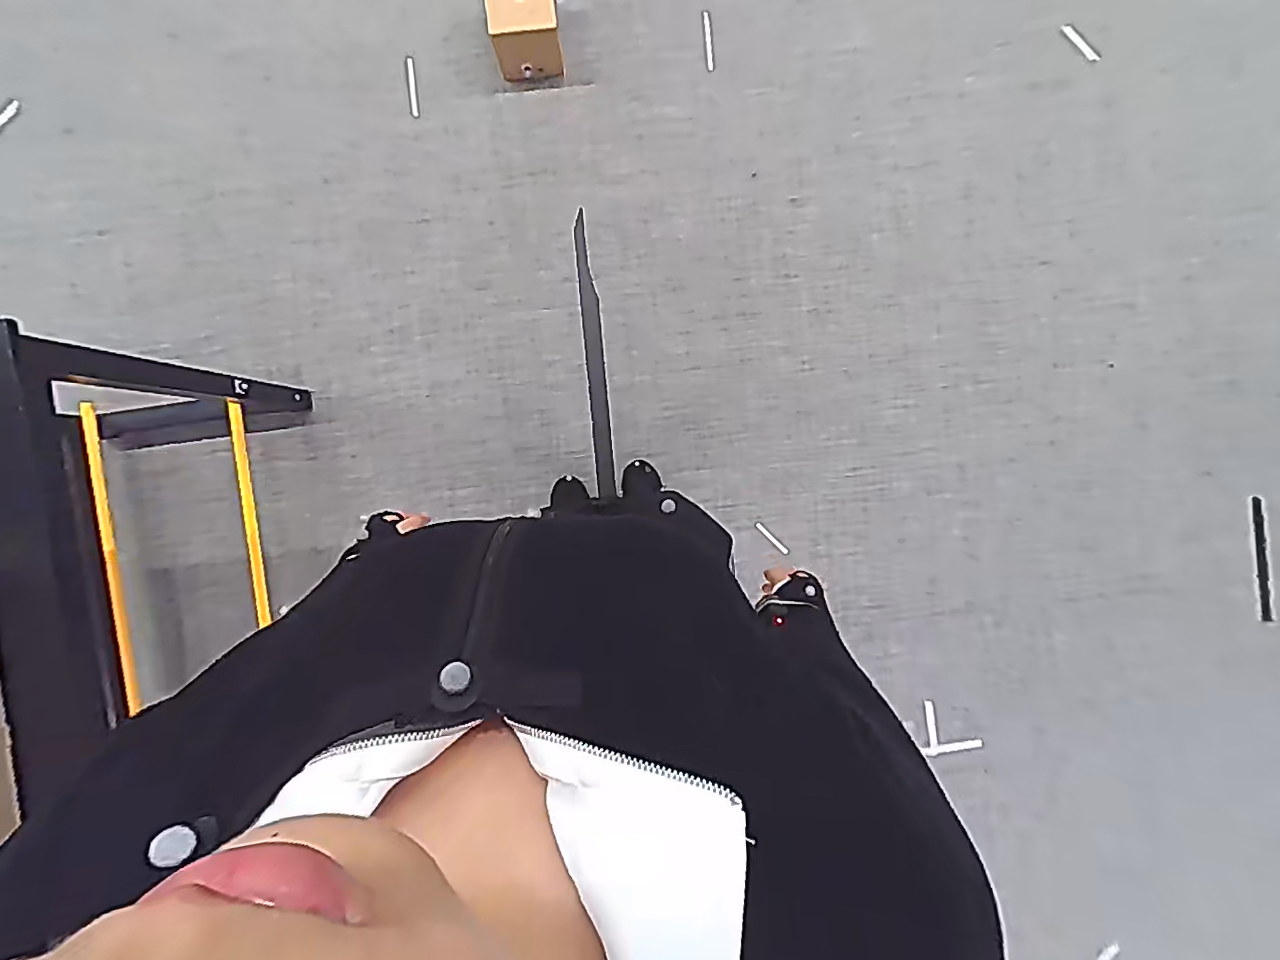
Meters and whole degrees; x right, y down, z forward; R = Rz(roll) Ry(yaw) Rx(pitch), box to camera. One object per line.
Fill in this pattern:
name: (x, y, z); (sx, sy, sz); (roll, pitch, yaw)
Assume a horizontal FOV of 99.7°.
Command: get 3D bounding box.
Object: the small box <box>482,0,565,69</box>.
small box: (-0.277, -1.122, 1.275); (0.168, 0.176, 0.179); (-8, 94, 0)
